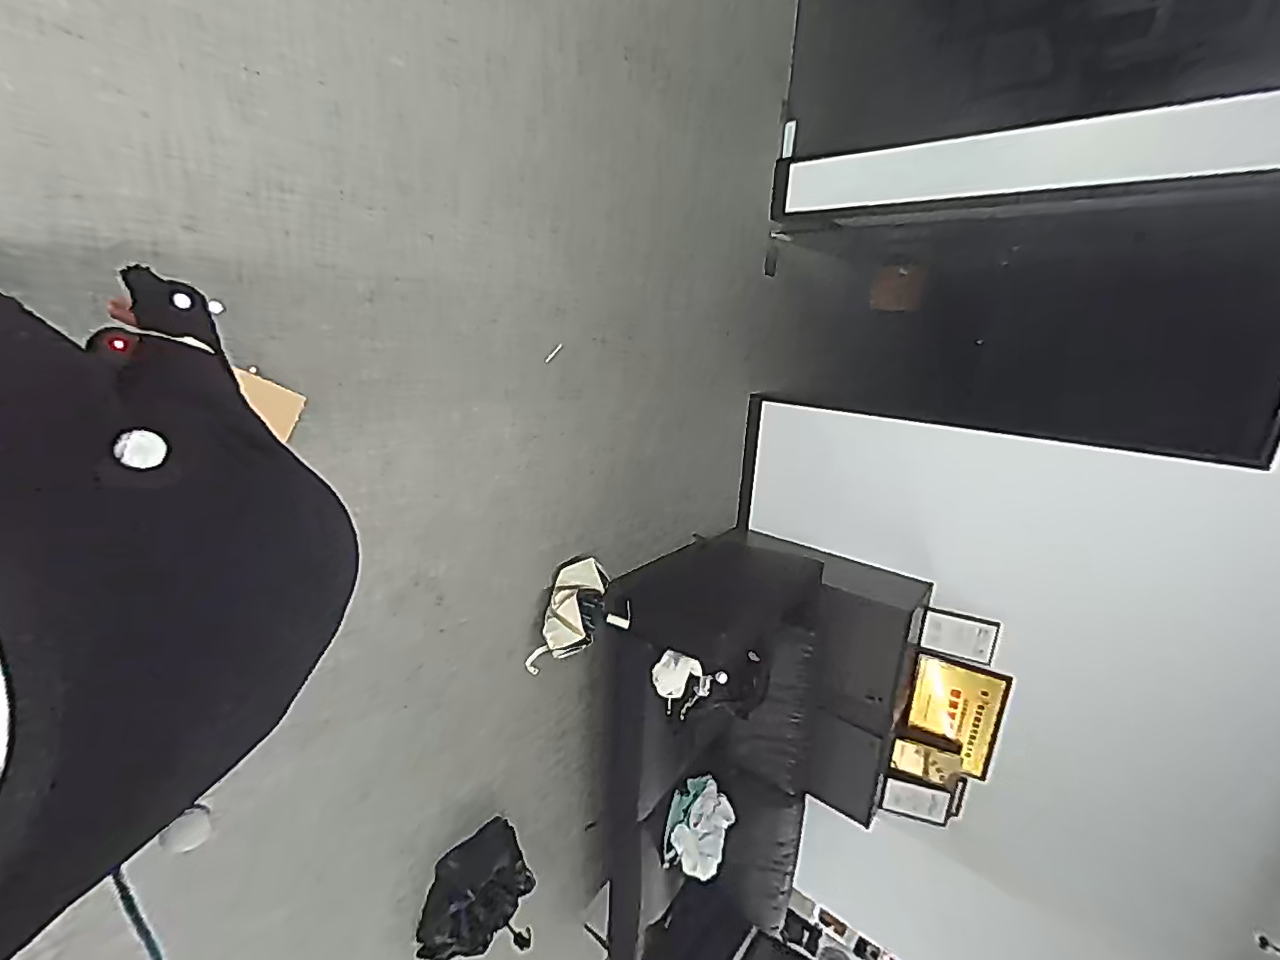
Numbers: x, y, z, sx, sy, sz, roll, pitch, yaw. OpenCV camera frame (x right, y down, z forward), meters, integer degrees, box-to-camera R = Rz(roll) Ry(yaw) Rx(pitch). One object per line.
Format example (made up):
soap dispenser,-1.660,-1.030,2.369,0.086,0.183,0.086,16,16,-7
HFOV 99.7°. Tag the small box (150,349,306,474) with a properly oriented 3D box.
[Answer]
small box,-0.788,-0.134,1.031,0.168,0.176,0.179,31,79,-52

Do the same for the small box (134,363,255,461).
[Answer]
small box,-0.906,-0.150,1.119,0.179,0.176,0.168,-23,121,-47
